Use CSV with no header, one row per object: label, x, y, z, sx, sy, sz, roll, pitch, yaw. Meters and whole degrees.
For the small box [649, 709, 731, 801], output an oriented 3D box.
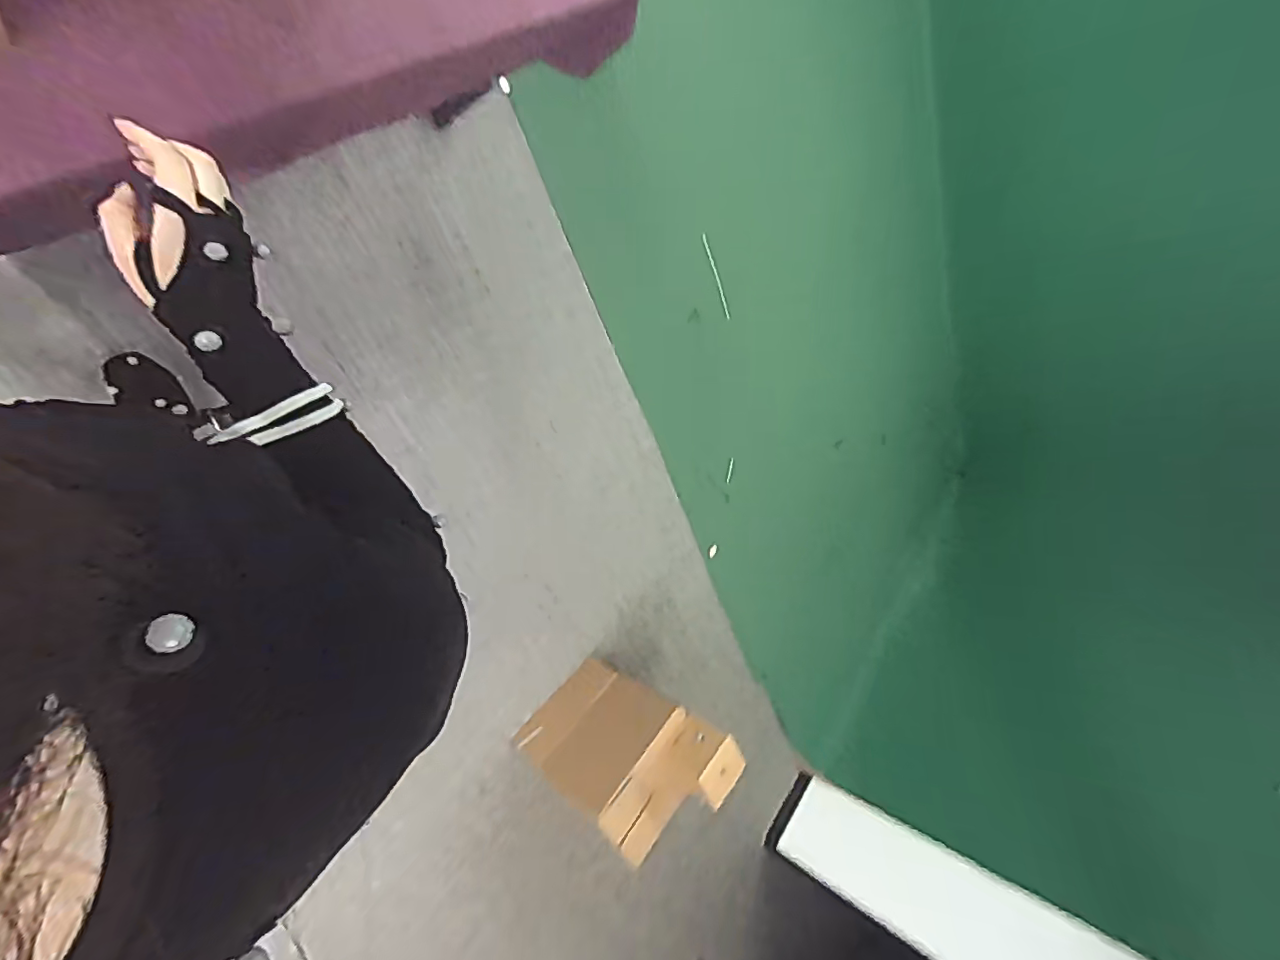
small box,0.157,0.860,1.715,0.168,0.176,0.179,-42,124,-30
